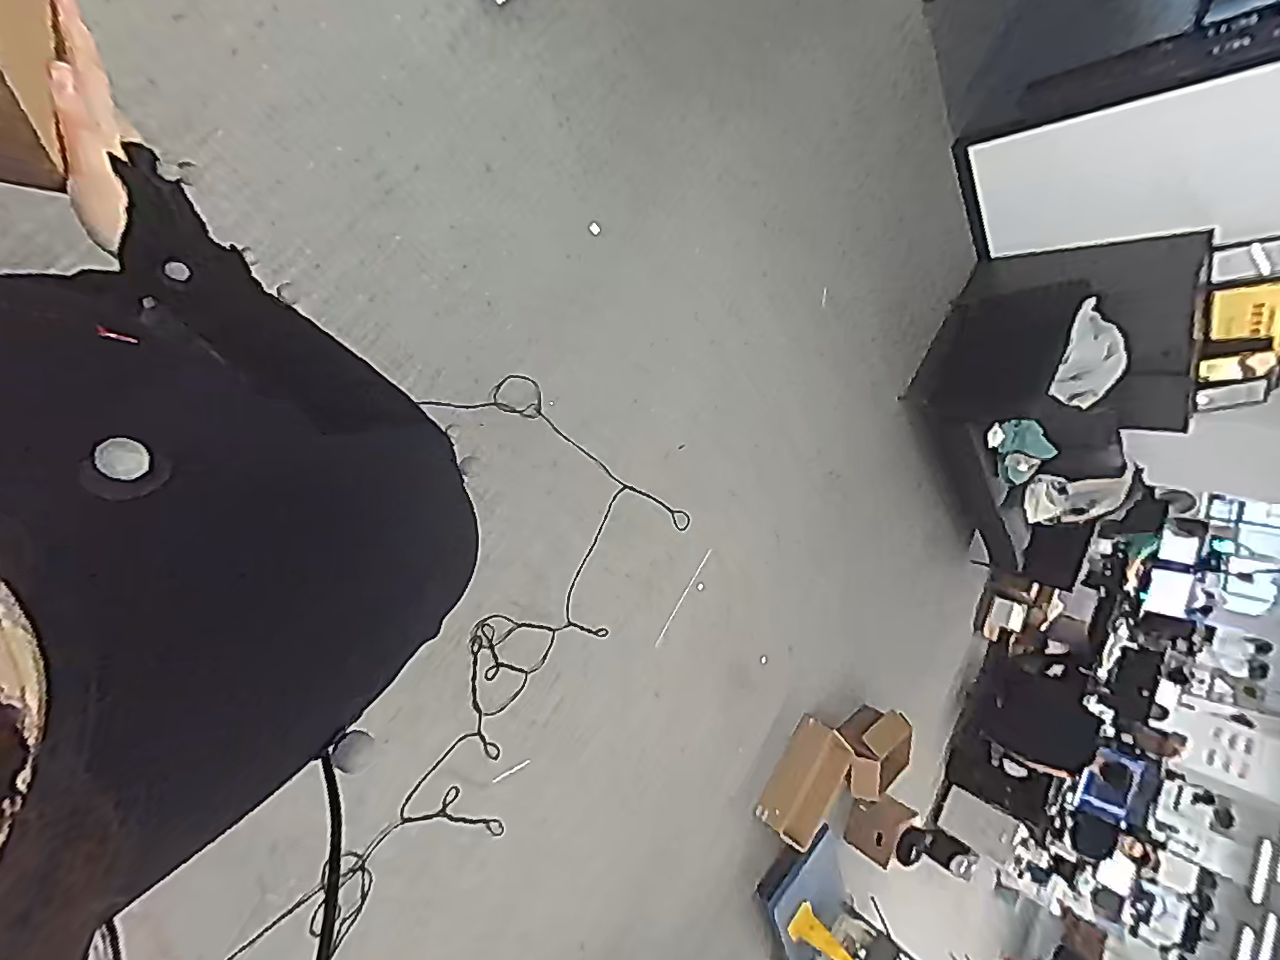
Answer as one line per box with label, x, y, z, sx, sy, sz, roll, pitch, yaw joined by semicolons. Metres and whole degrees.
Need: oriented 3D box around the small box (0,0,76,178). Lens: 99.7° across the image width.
small box;-0.375;-0.256;0.226;0.179;0.176;0.168;-5;95;-38
